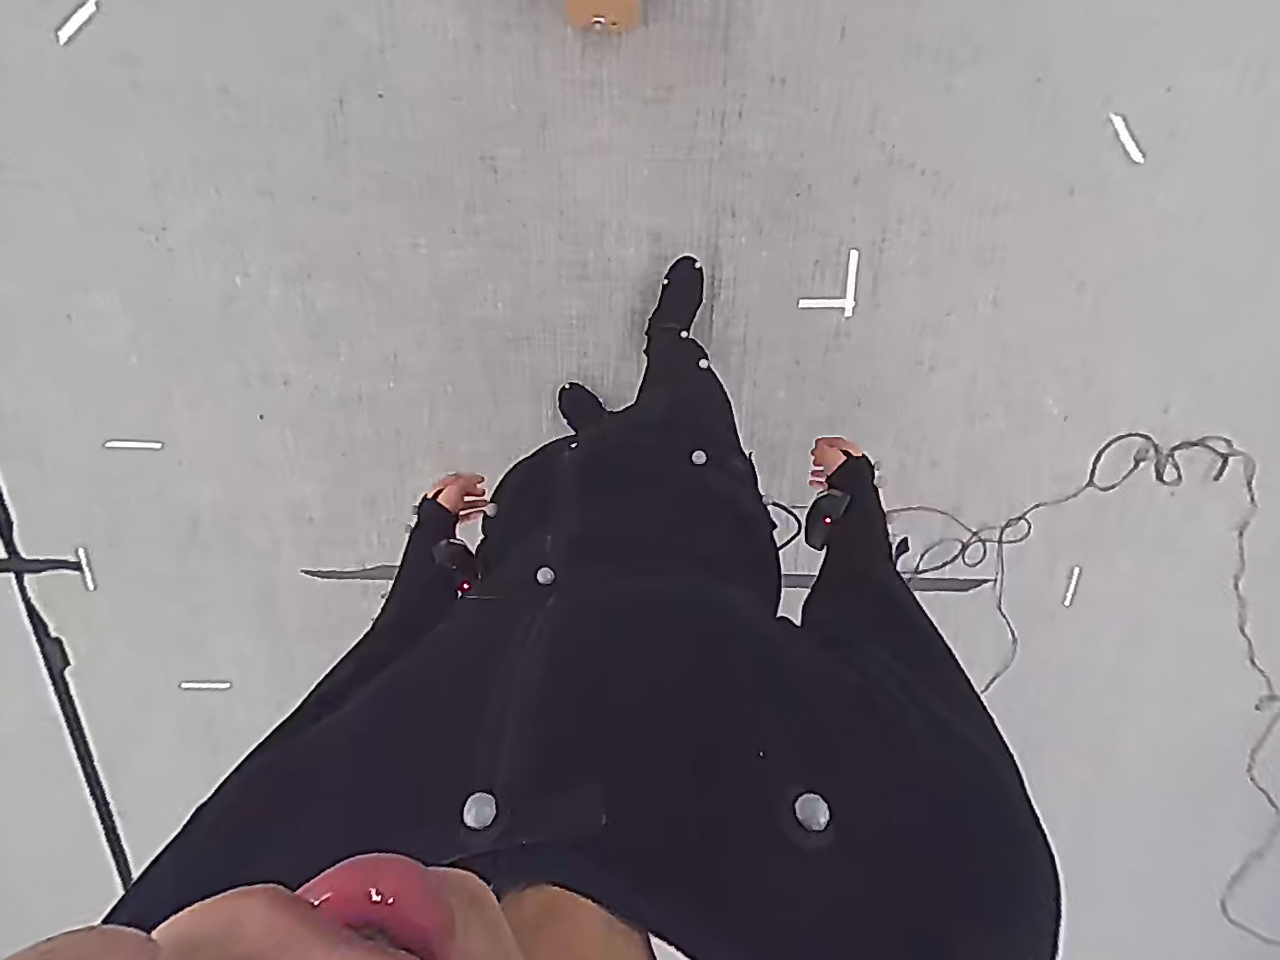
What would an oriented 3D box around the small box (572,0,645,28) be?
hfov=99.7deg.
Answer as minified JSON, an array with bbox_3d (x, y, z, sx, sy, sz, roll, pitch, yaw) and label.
[{"bbox_3d":[-0.074,-1.151,1.199,0.168,0.176,0.179,-2,107,-1],"label":"small box"}]
